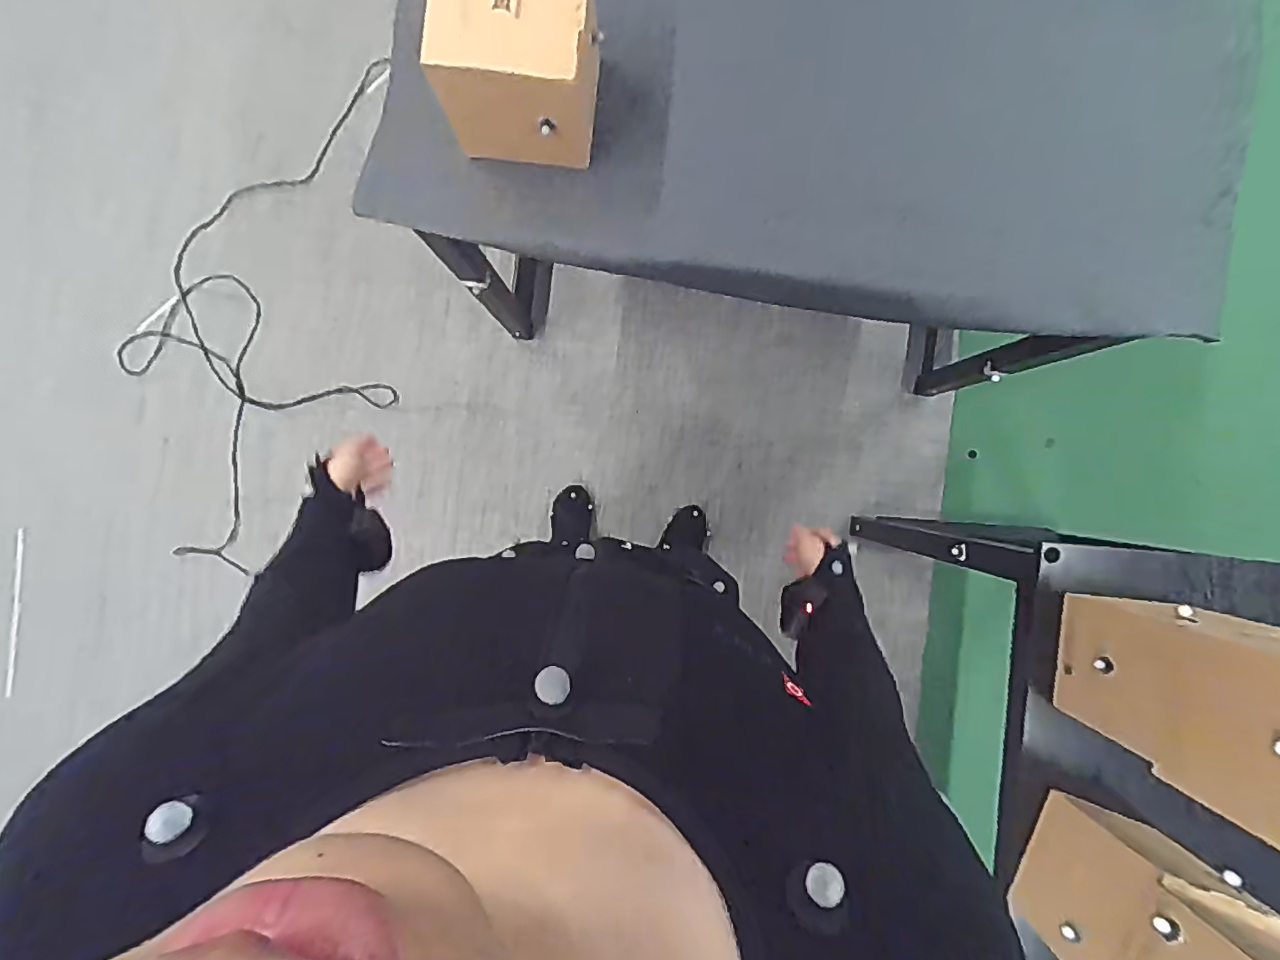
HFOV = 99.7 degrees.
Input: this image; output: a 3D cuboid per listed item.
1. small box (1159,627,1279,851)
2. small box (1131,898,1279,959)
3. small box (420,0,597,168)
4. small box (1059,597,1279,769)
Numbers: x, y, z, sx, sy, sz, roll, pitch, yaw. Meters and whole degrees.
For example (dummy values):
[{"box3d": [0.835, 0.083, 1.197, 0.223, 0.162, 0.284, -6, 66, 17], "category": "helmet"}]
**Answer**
[{"box3d": [0.662, 0.258, 0.521, 0.168, 0.176, 0.179, 6, 91, 1], "category": "small box"}, {"box3d": [0.621, 0.561, 0.523, 0.179, 0.176, 0.168, 24, 91, -1], "category": "small box"}, {"box3d": [-0.151, -0.524, 0.681, 0.179, 0.176, 0.168, 5, 88, 1], "category": "small box"}, {"box3d": [0.680, 0.252, 0.683, 0.179, 0.176, 0.168, 6, 92, 0], "category": "small box"}]
